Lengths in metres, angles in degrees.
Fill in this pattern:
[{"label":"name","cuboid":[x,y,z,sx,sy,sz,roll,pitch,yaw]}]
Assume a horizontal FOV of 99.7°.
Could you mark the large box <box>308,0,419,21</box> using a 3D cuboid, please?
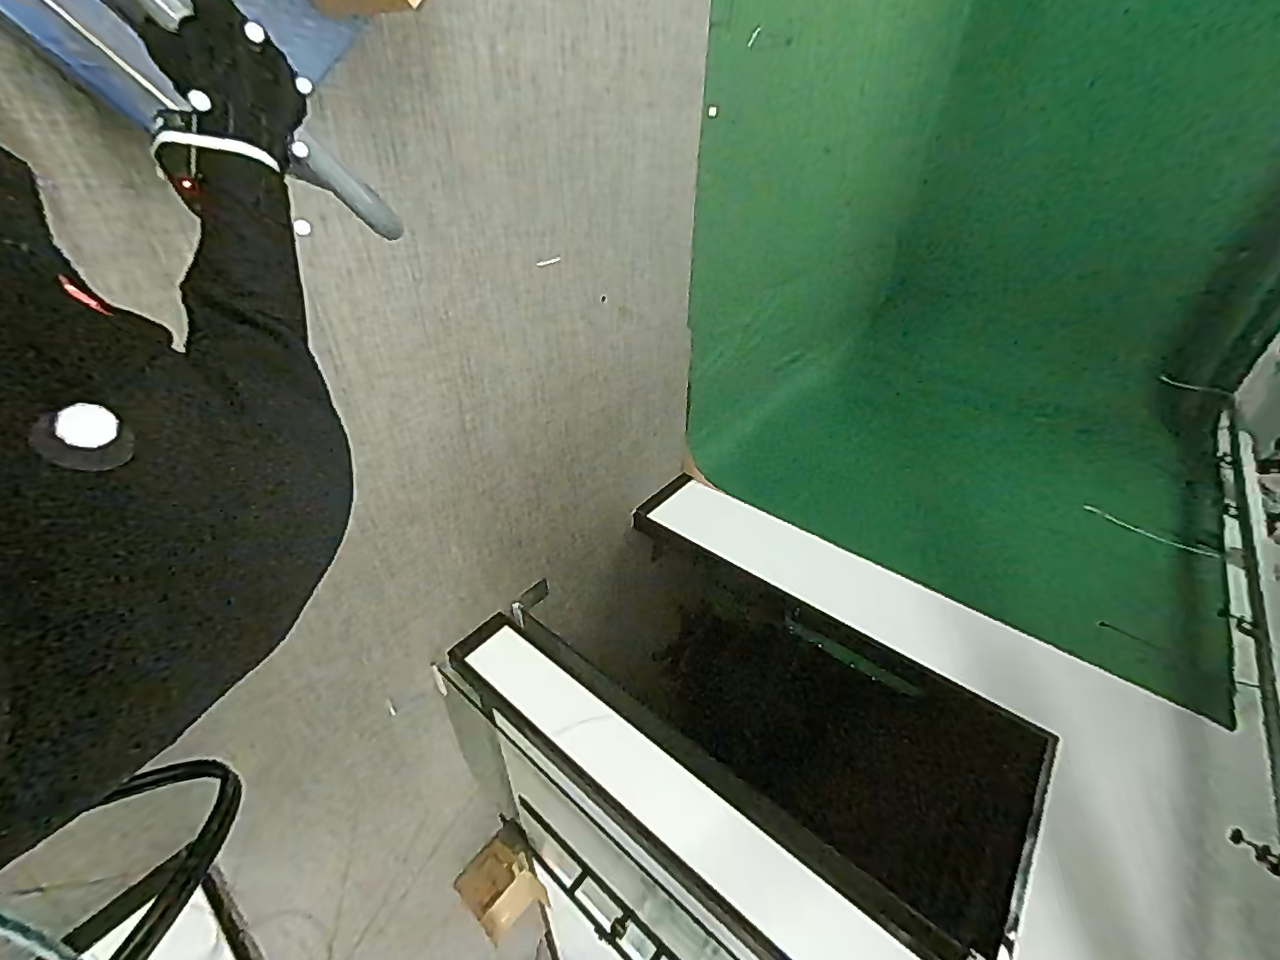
[{"label":"large box","cuboid":[-0.493,-0.996,0.788,0.320,0.320,0.408,-61,148,-4]}]
